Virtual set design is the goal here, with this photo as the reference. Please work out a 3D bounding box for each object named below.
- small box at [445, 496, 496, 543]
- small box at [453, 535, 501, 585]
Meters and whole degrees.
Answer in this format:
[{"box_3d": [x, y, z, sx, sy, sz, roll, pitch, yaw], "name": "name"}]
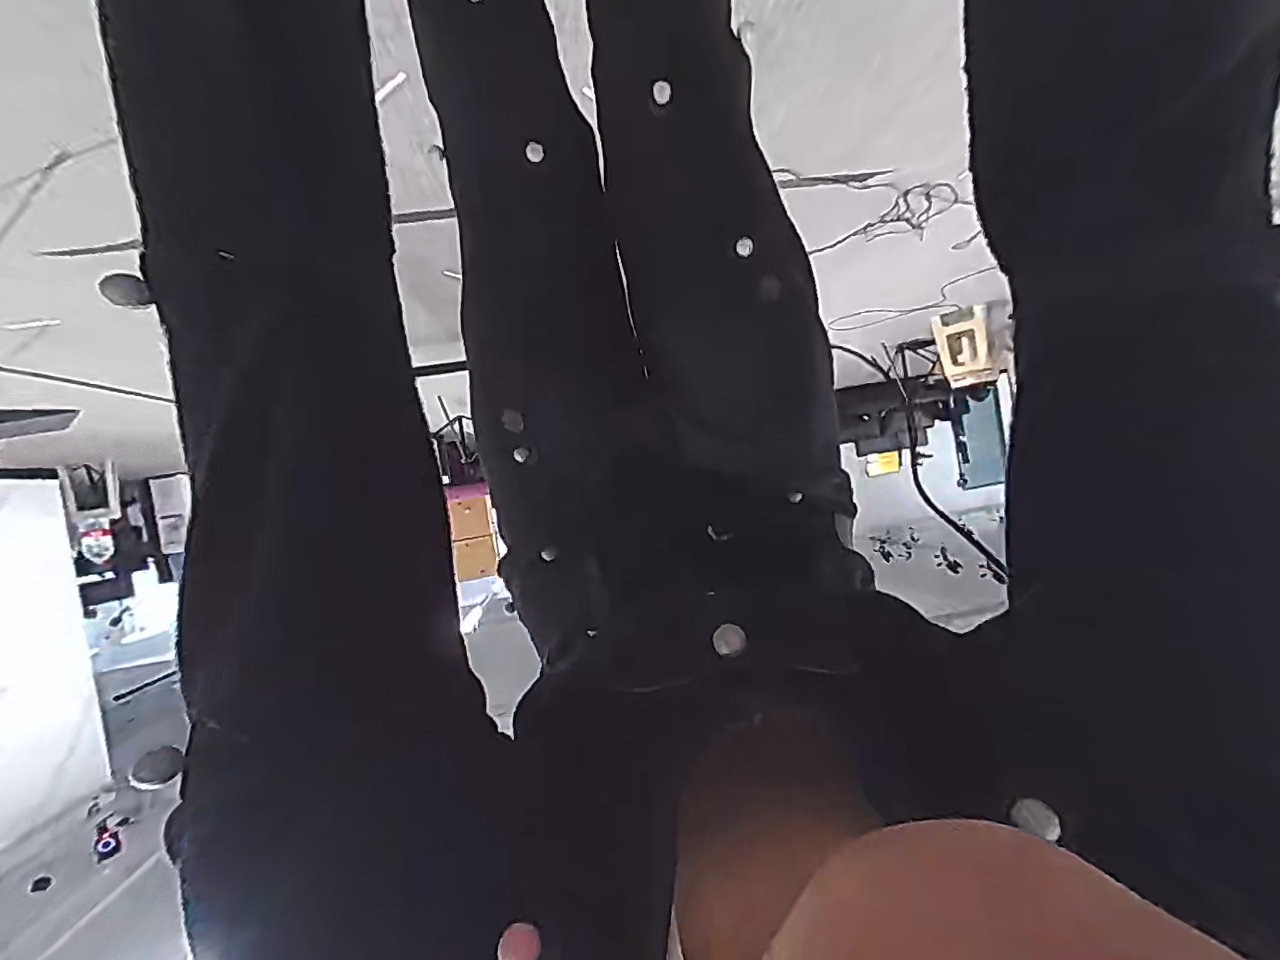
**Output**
[{"box_3d": [-0.697, 0.158, 2.235, 0.168, 0.176, 0.179, -10, -179, -10], "name": "small box"}, {"box_3d": [-0.670, 0.320, 2.233, 0.168, 0.176, 0.179, -10, -178, -12], "name": "small box"}]
